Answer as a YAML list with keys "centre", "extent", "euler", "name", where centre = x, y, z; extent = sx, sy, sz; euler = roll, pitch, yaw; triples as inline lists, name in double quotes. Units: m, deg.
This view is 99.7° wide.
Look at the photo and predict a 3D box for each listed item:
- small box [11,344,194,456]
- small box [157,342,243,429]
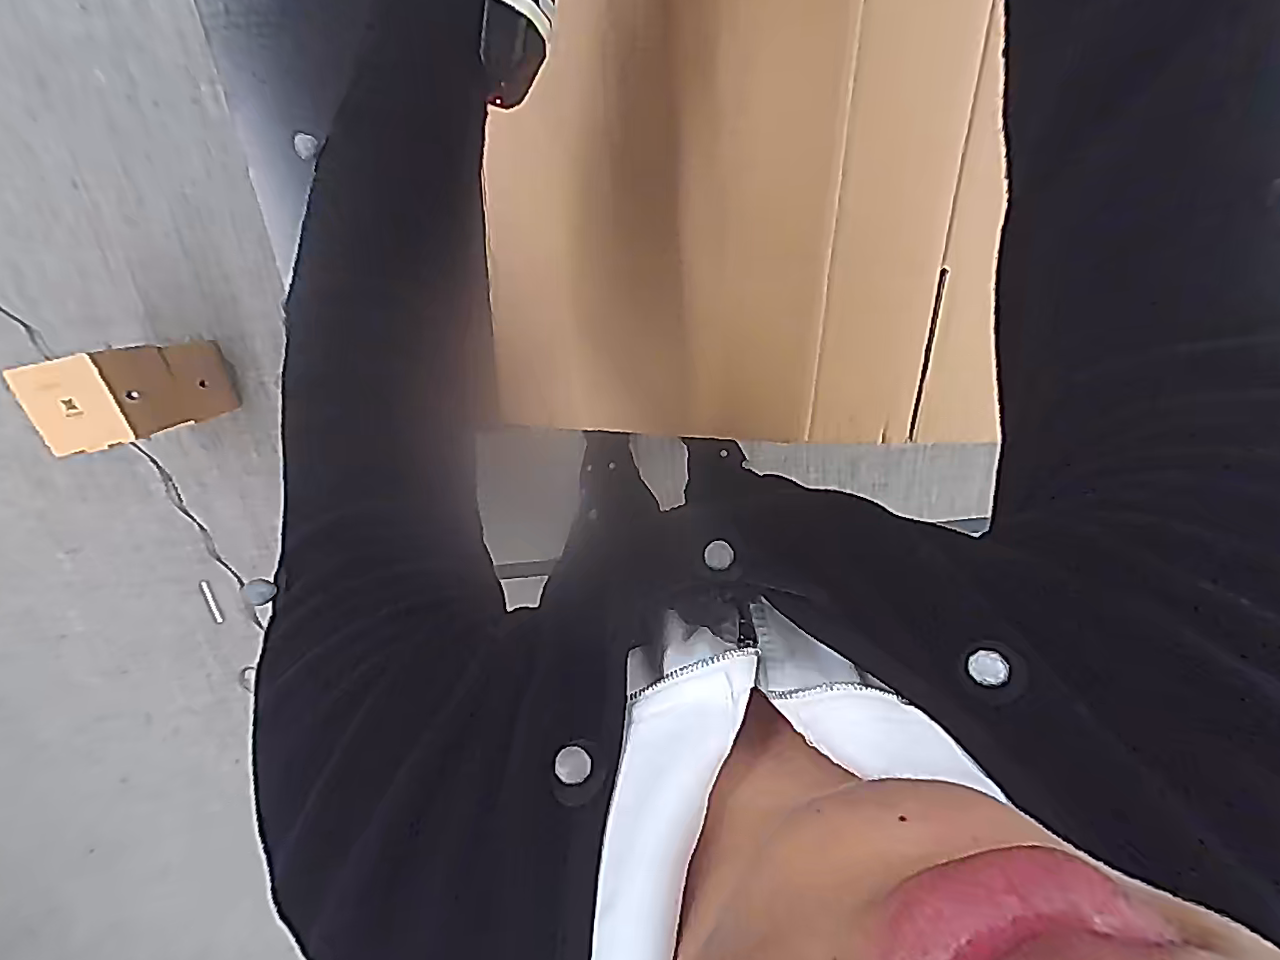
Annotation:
- centre: [-1.077, -0.169, 1.105]
  extent: [0.168, 0.176, 0.179]
  euler: [-13, 110, 1]
  name: "small box"
- centre: [-1.084, -0.220, 1.259]
  extent: [0.168, 0.176, 0.179]
  euler: [-9, 111, 0]
  name: "small box"
